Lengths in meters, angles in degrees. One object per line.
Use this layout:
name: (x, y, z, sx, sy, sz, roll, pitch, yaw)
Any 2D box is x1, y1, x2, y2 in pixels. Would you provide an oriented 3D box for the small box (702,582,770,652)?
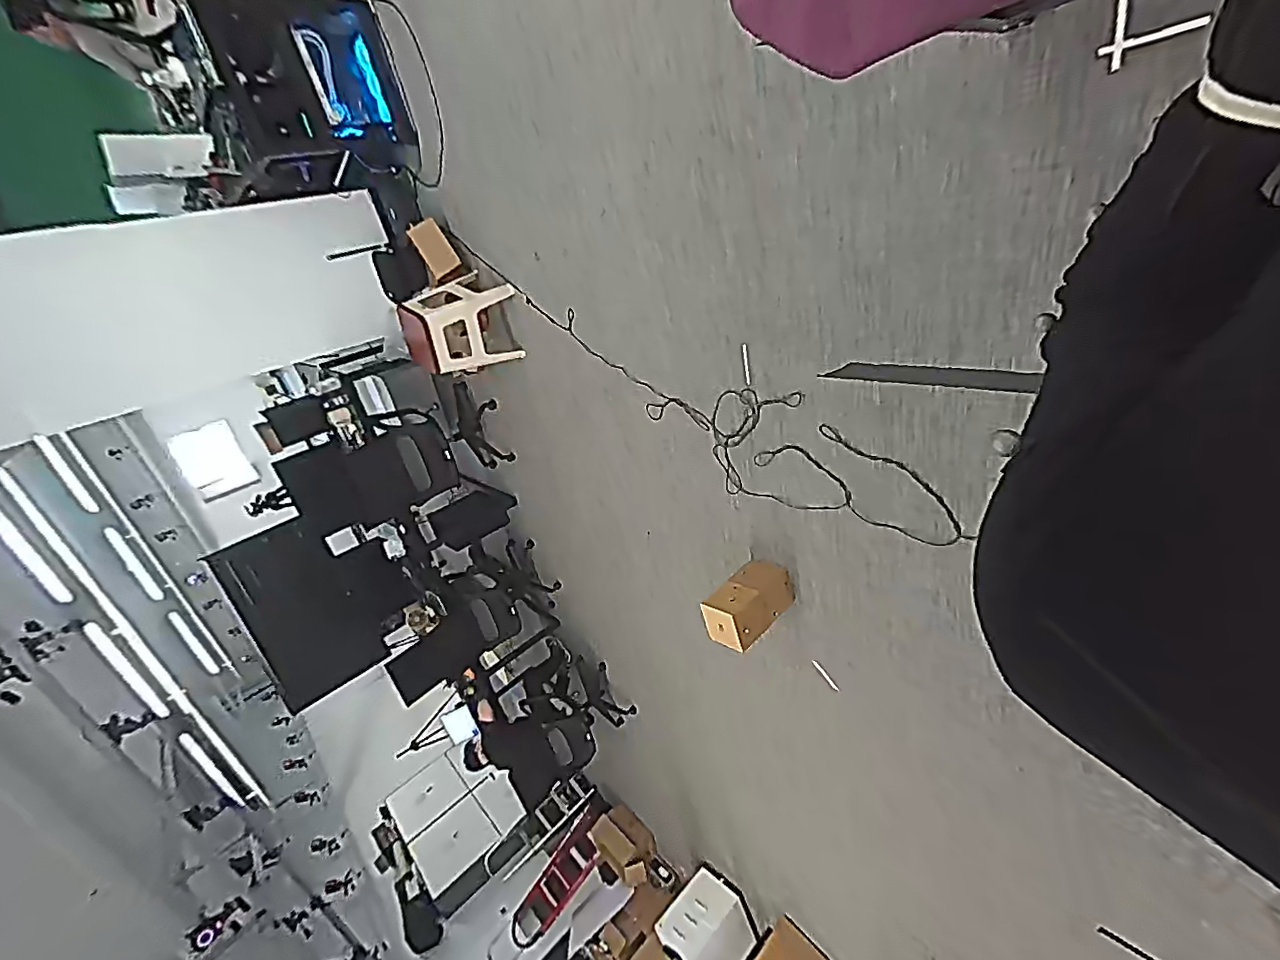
small box: (0.369, 0.514, 2.056, 0.168, 0.176, 0.179, 8, 123, 51)
